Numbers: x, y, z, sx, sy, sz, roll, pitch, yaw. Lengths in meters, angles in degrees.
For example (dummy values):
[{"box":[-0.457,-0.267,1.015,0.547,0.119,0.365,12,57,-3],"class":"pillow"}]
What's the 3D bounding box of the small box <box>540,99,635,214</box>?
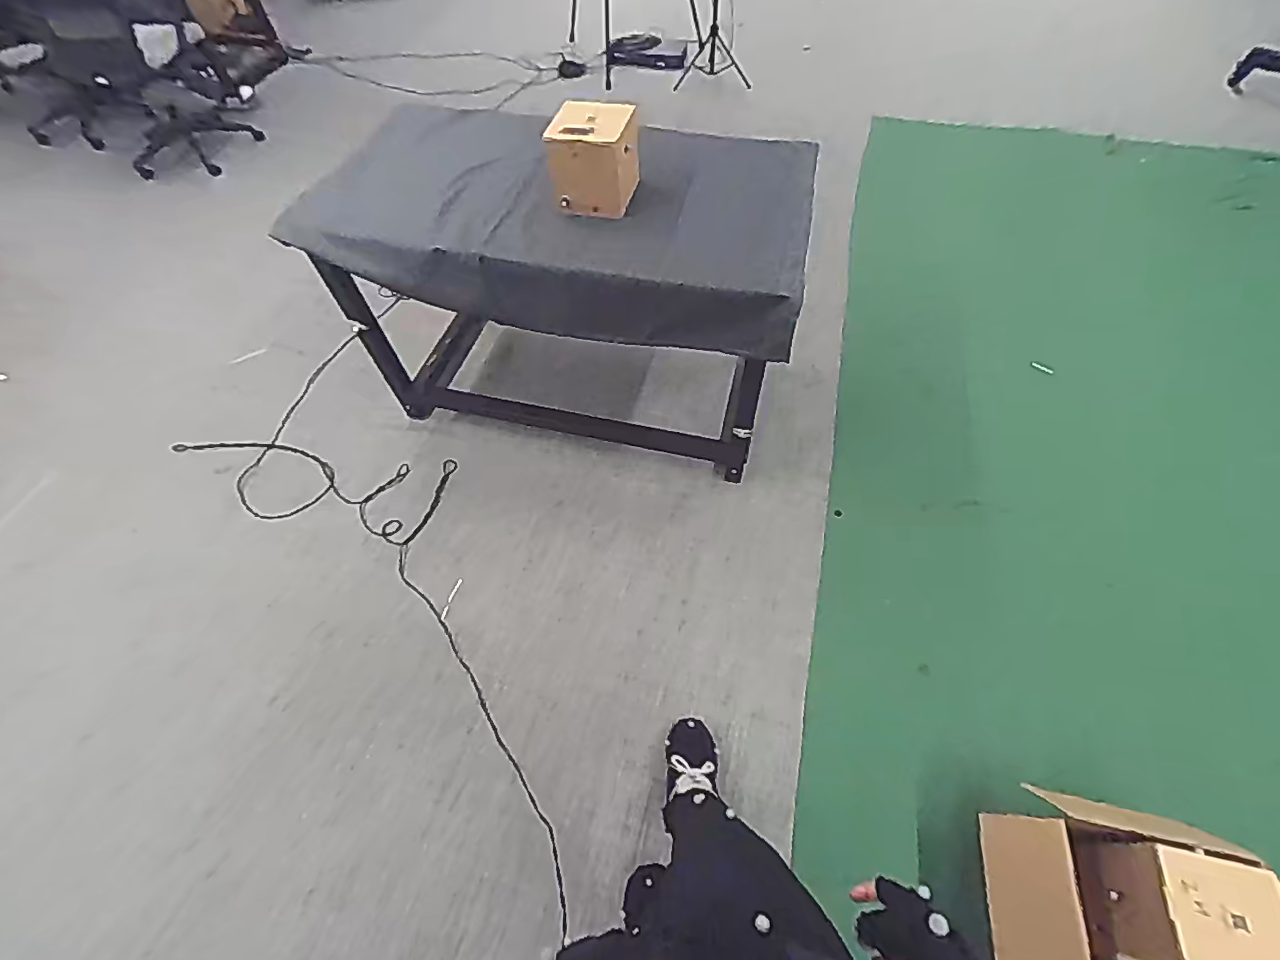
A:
[{"box":[-0.109,-0.733,1.231,0.168,0.176,0.179,10,58,9],"class":"small box"}]
